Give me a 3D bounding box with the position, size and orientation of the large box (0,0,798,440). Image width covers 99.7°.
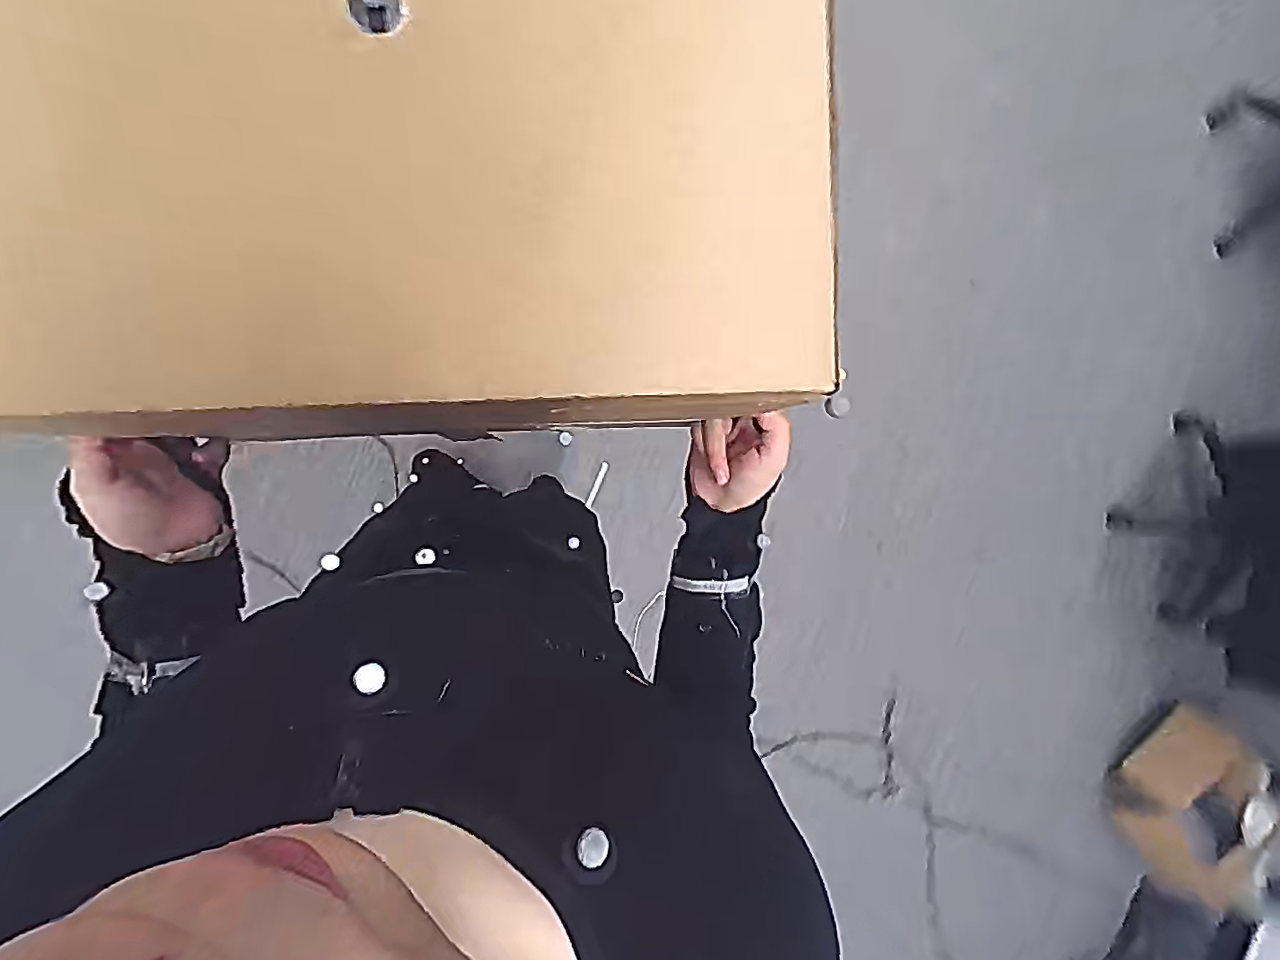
[{"bbox_3d":[-0.150,-0.201,0.373,0.408,0.320,0.320,-5,95,-6],"label":"large box"}]
